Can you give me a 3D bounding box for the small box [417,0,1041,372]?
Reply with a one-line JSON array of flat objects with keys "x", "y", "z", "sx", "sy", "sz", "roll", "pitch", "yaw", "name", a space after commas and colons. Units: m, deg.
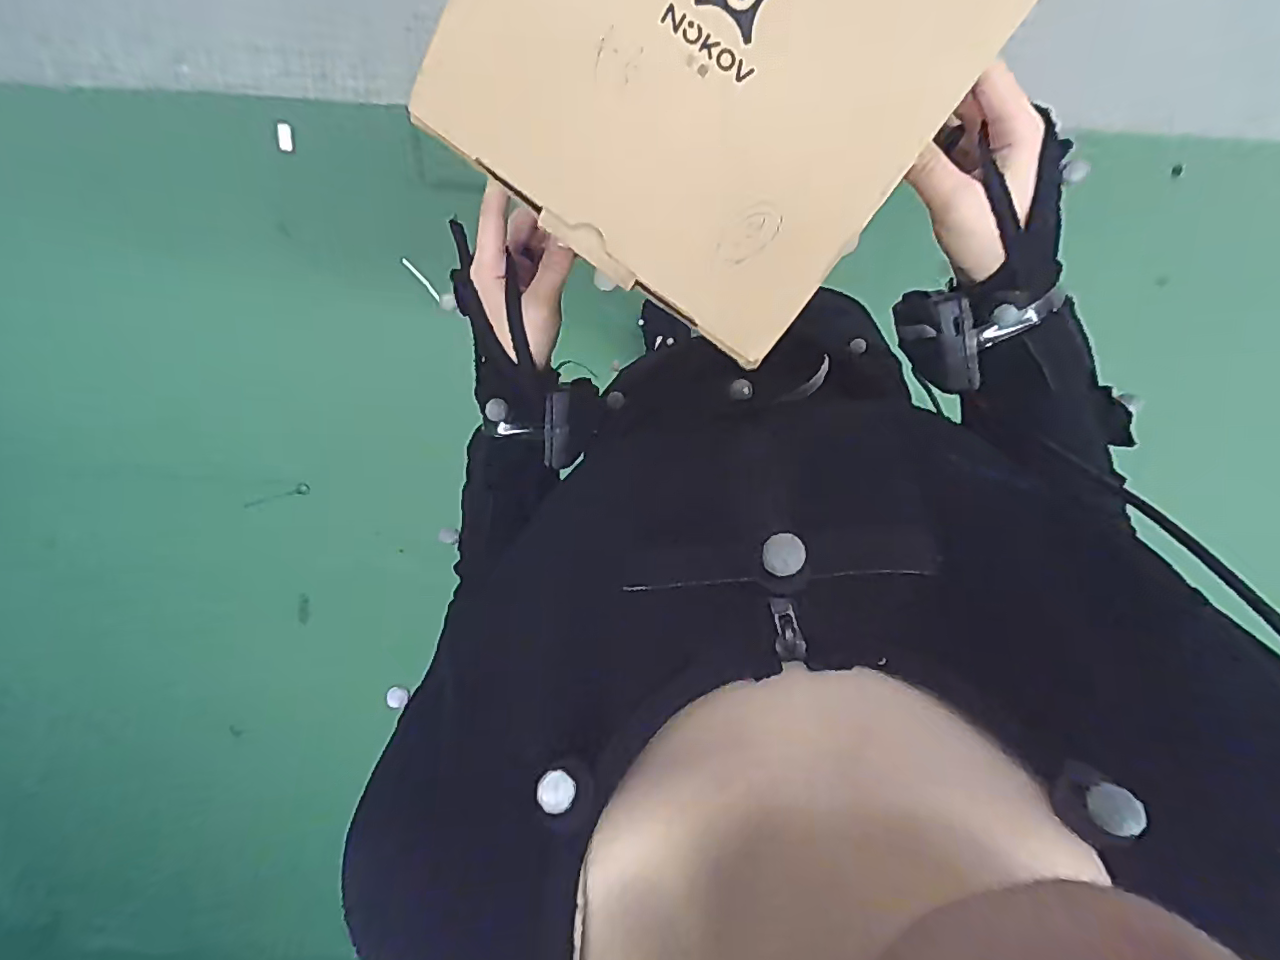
[{"x": 0.036, "y": -0.178, "z": 0.263, "sx": 0.168, "sy": 0.176, "sz": 0.179, "roll": 36, "pitch": 109, "yaw": -5, "name": "small box"}]
